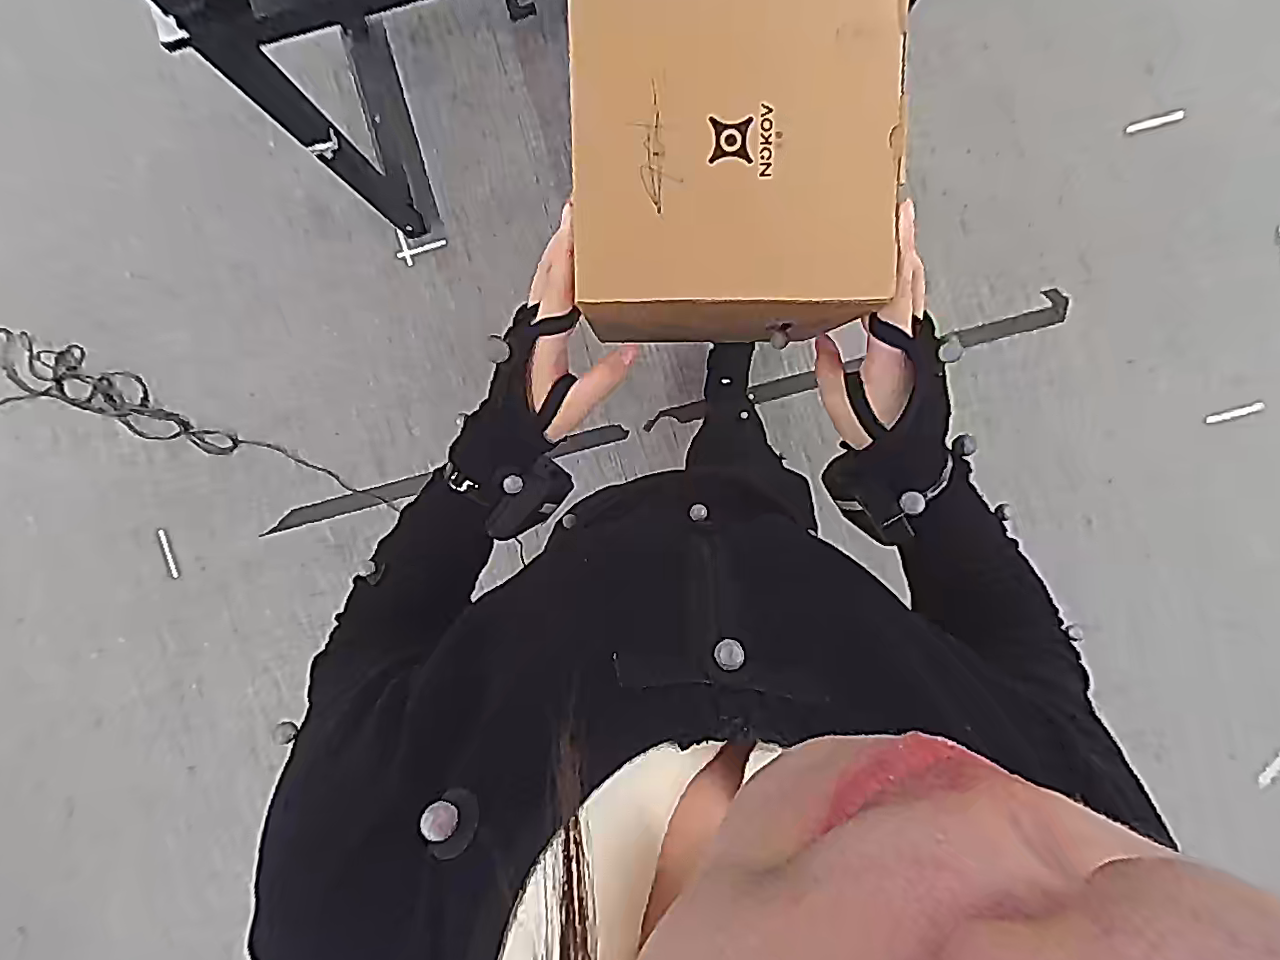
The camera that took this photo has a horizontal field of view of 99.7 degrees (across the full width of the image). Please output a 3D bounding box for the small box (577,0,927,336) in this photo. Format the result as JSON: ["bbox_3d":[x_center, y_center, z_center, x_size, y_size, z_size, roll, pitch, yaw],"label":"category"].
[{"bbox_3d":[0.055,-0.190,0.352,0.179,0.176,0.168,0,96,0],"label":"small box"}]

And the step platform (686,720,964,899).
[{"bbox_3d":[0.471,0.858,1.421,0.684,0.204,0.286,-10,93,0],"label":"step platform"}]
